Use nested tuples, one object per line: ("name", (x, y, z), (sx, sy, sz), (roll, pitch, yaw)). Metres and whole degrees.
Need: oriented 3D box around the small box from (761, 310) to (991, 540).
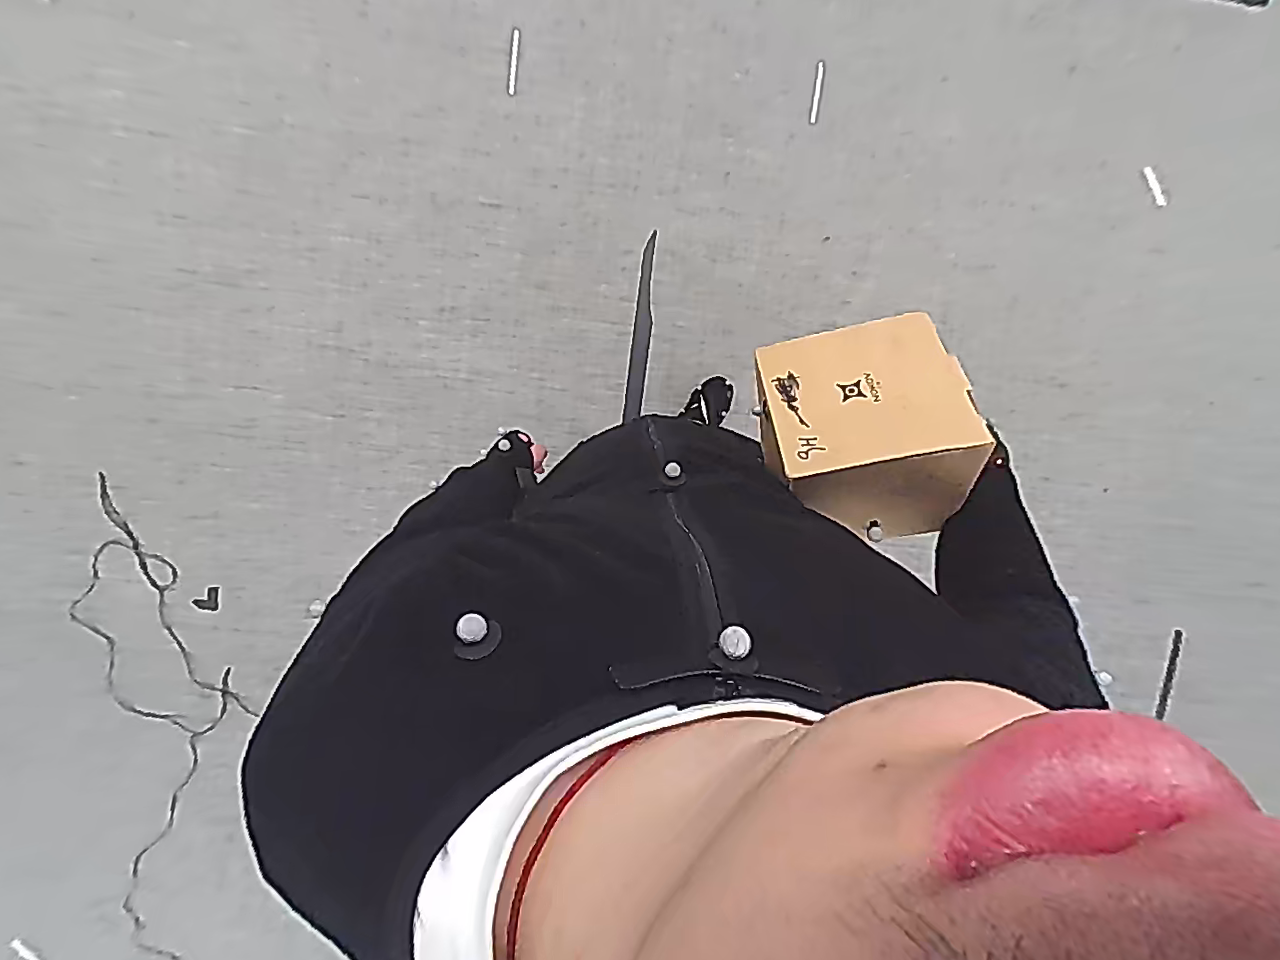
("small box", (0.235, -0.051, 0.590), (0.179, 0.176, 0.168), (-11, 56, 10))
